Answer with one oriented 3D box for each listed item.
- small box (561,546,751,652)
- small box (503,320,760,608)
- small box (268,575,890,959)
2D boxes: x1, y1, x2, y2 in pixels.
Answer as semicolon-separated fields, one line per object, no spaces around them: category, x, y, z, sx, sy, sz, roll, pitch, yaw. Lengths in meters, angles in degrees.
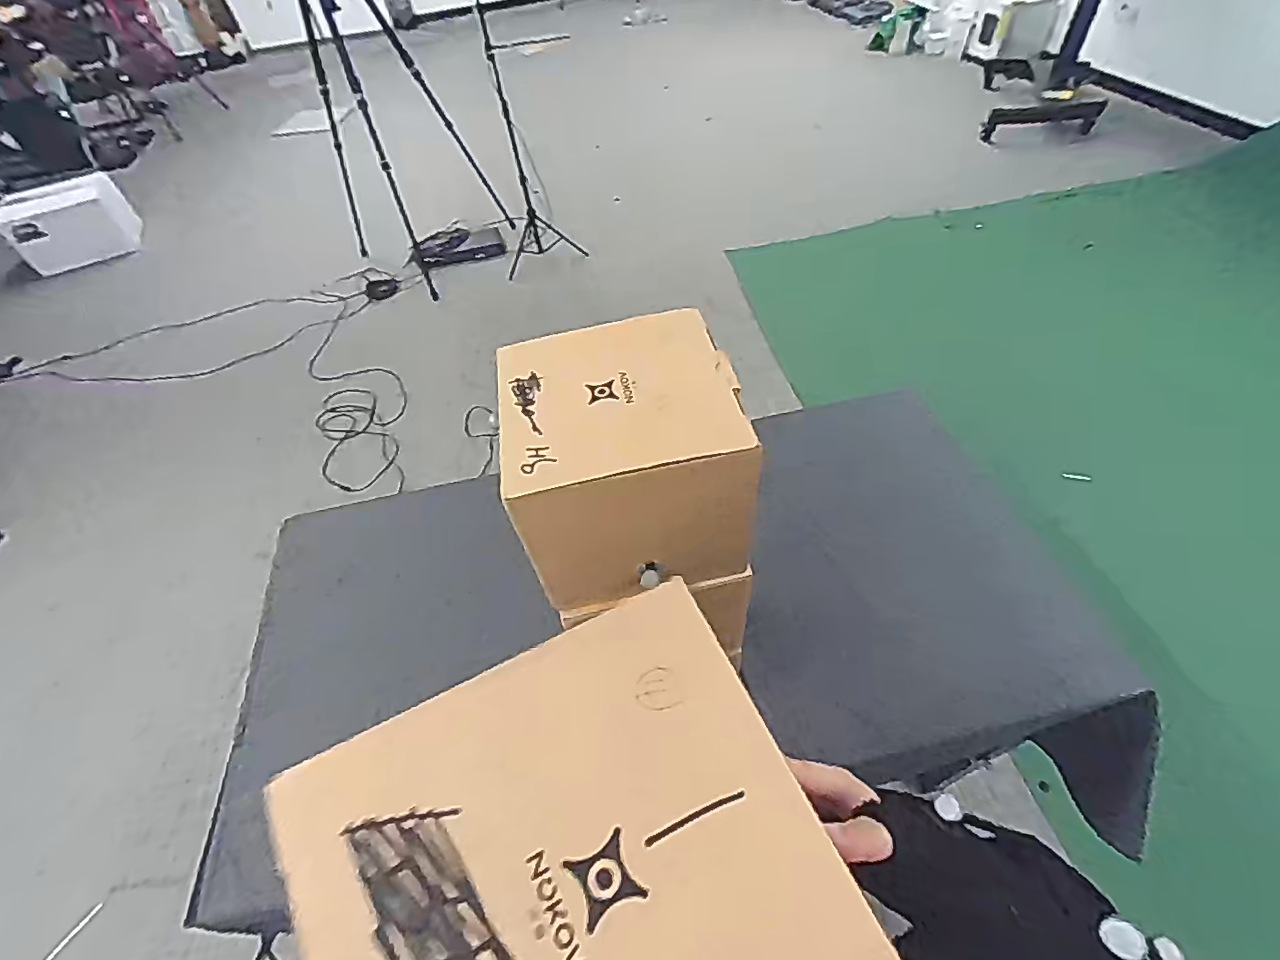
small box;0.007;0.099;0.591;0.179;0.176;0.168;-13;50;-4
small box;-0.011;-0.010;0.469;0.179;0.176;0.168;-11;50;-3
small box;-0.029;0.175;0.260;0.179;0.176;0.168;-23;68;-16
